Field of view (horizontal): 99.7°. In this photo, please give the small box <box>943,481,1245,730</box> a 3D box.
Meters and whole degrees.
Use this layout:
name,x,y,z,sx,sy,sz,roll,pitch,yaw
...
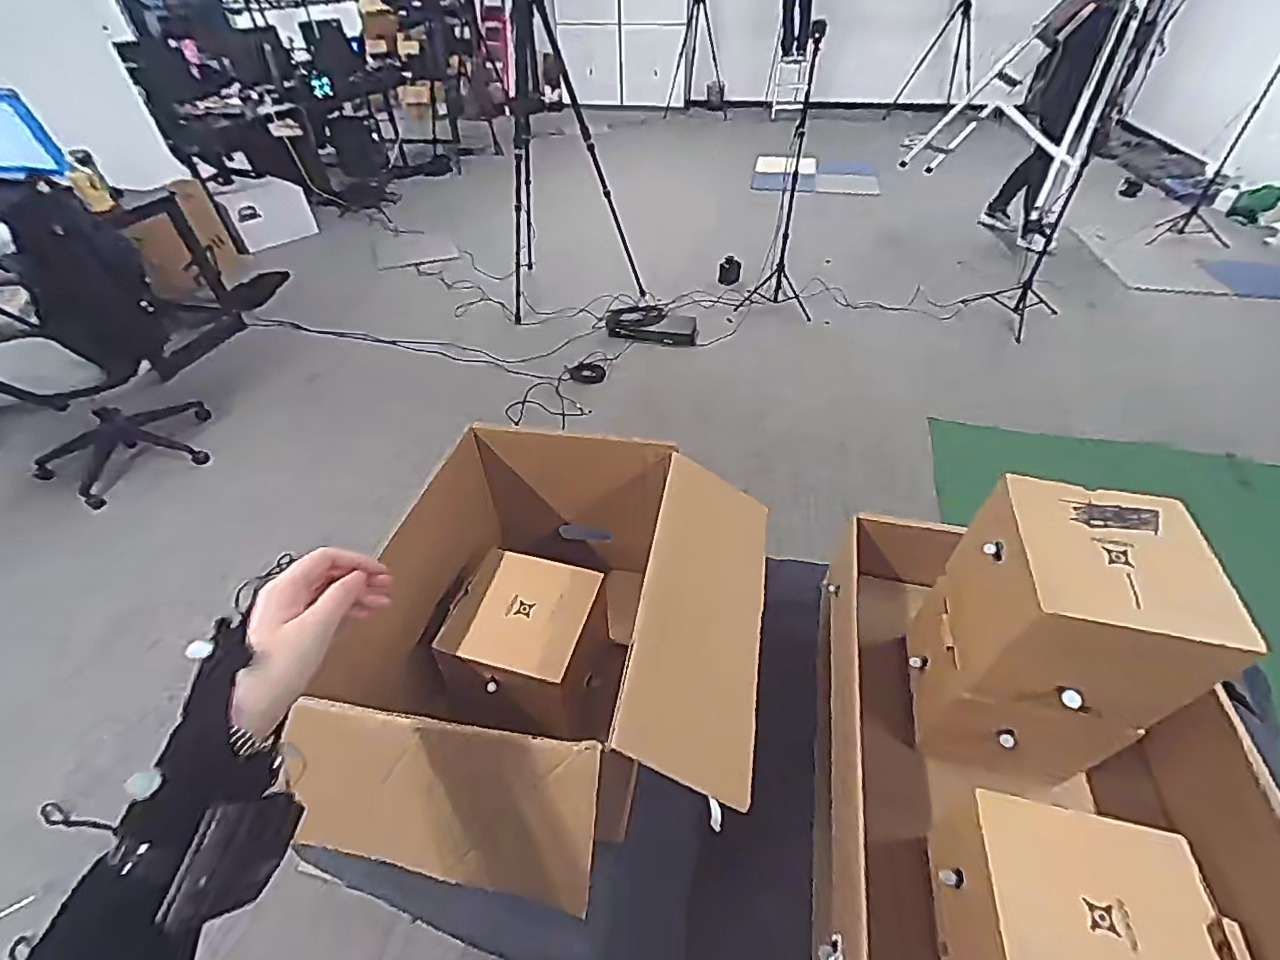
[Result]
name,x,y,z,sx,sy,sz,roll,pitch,yaw
small box,0.444,0.132,0.573,0.168,0.176,0.179,10,48,11
